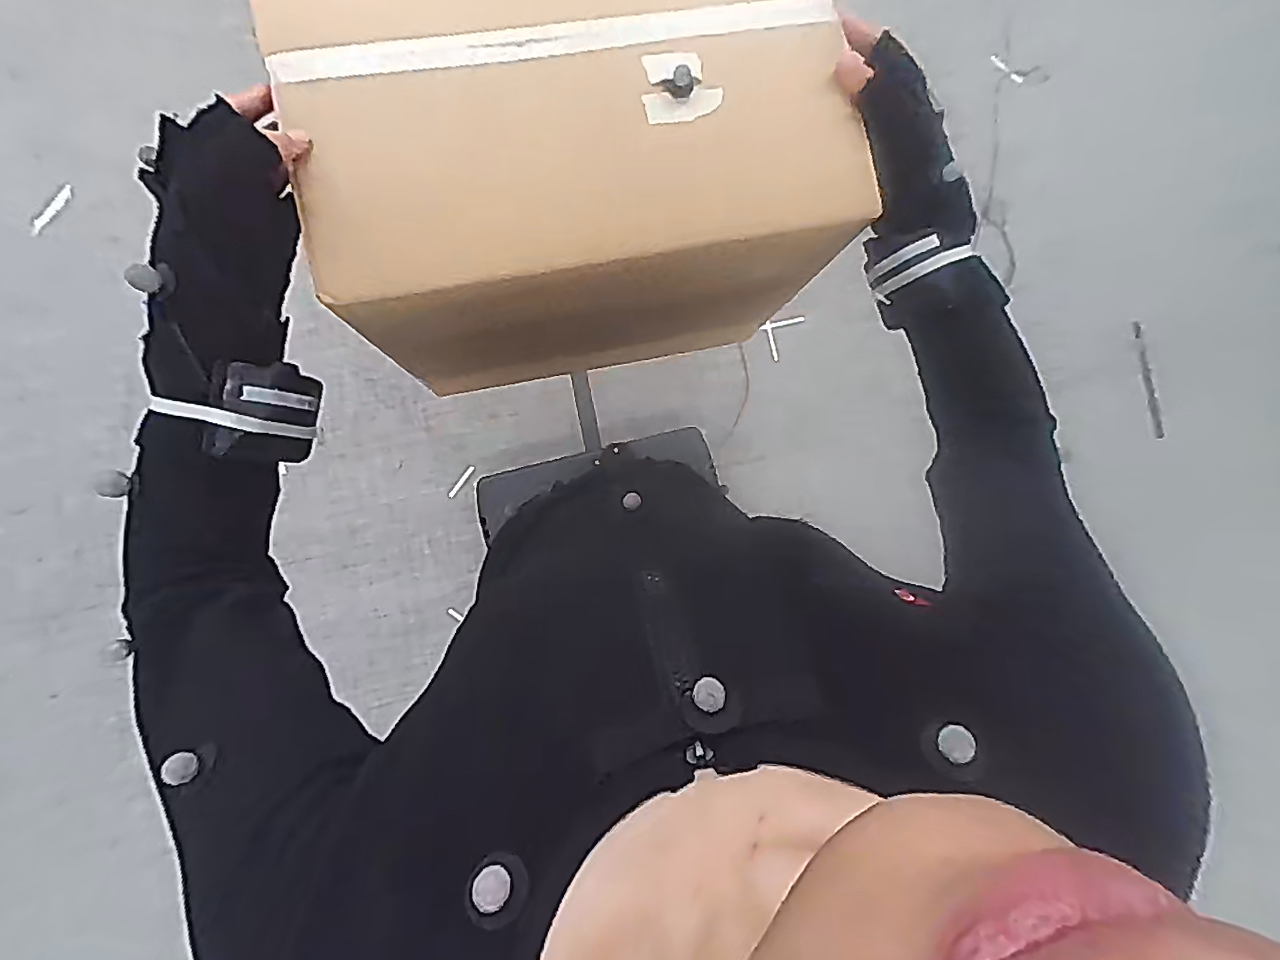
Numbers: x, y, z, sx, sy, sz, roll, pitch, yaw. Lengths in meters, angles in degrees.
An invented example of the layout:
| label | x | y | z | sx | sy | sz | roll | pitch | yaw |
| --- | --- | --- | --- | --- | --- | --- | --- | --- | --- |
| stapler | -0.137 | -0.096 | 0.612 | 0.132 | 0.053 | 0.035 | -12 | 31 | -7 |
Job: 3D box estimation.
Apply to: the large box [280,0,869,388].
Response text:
| label | x | y | z | sx | sy | sz | roll | pitch | yaw |
| --- | --- | --- | --- | --- | --- | --- | --- | --- | --- |
| large box | -0.065 | -0.310 | 0.545 | 0.408 | 0.320 | 0.320 | -13 | 90 | -8 |
